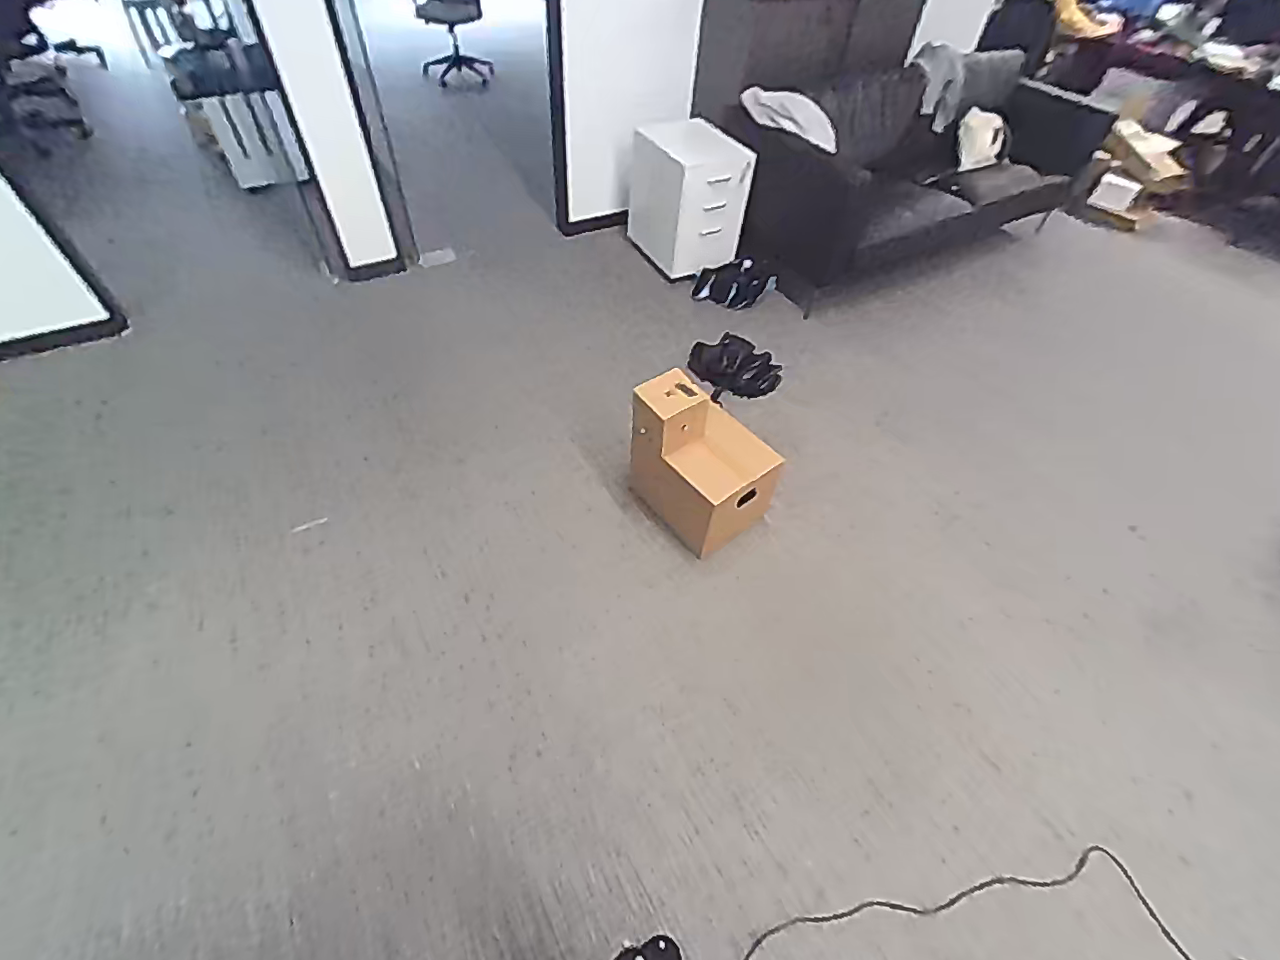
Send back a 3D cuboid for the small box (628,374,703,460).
[{"bbox_3d":[0.073,-0.195,1.696,0.179,0.176,0.168,-29,57,-22],"label":"small box"}]
